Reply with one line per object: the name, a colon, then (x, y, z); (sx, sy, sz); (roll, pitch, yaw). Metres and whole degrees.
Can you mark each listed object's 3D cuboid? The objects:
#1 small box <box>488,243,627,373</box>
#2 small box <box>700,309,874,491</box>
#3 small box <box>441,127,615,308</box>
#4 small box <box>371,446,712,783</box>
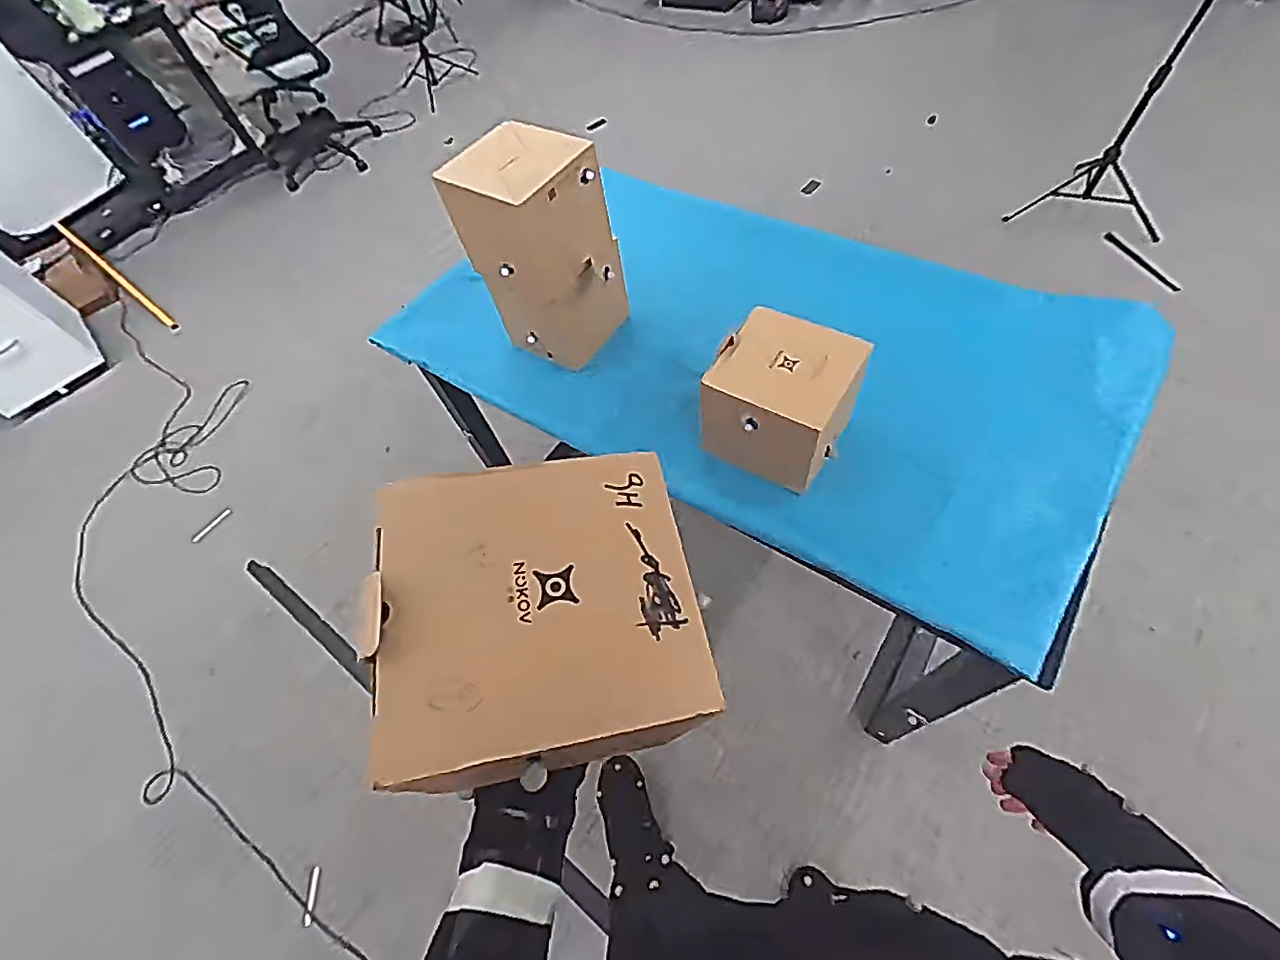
small box: (-0.139, -0.328, 0.975); (0.168, 0.176, 0.179); (29, 70, 25)
small box: (0.206, -0.111, 0.785); (0.179, 0.176, 0.168); (27, 67, 23)
small box: (-0.167, -0.403, 0.828); (0.179, 0.176, 0.168); (29, 67, 23)
small box: (-0.070, 0.100, 0.379); (0.179, 0.176, 0.168); (-9, 60, -13)
